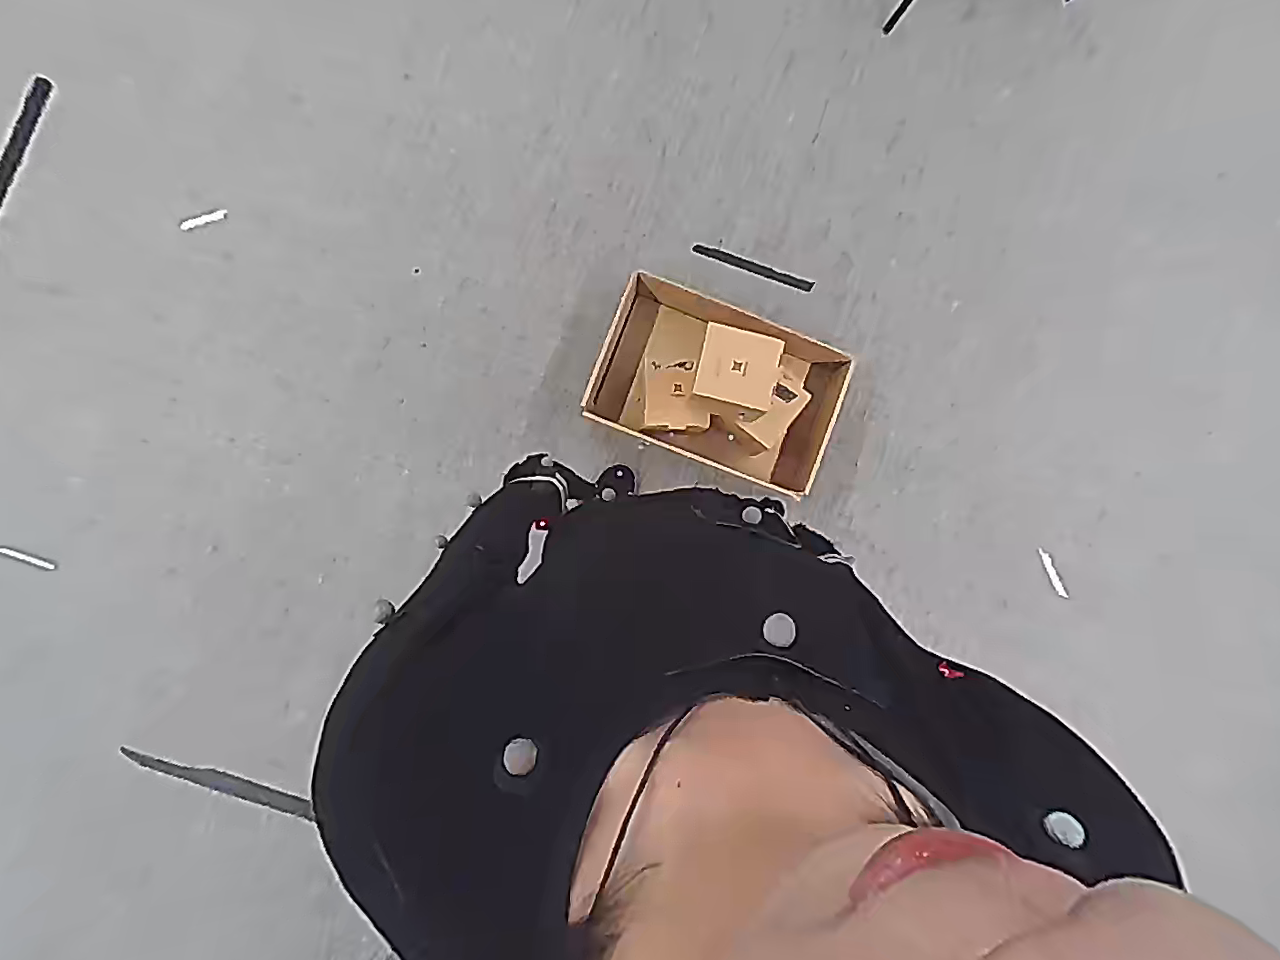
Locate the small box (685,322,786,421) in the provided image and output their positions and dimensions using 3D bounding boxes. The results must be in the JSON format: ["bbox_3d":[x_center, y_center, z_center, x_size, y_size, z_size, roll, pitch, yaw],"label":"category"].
[{"bbox_3d":[0.213,-0.240,1.246,0.179,0.176,0.168,13,86,-2],"label":"small box"}]
